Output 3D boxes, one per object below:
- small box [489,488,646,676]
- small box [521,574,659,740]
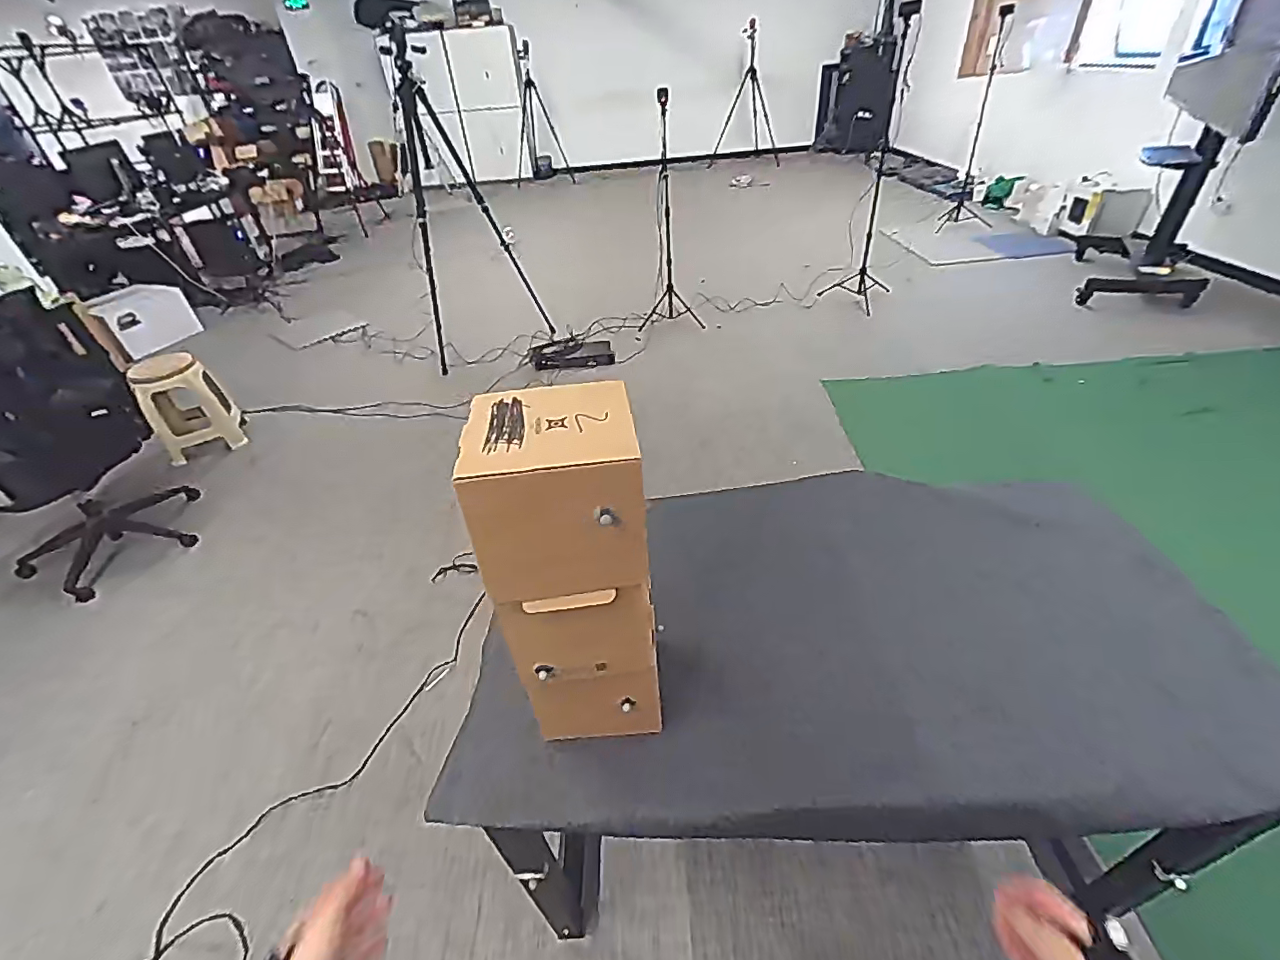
[{"bbox_3d":[-0.086,0.136,0.705,0.168,0.176,0.179,-7,36,-3],"label":"small box"},{"bbox_3d":[-0.064,0.264,0.806,0.179,0.176,0.168,-6,37,1],"label":"small box"}]
